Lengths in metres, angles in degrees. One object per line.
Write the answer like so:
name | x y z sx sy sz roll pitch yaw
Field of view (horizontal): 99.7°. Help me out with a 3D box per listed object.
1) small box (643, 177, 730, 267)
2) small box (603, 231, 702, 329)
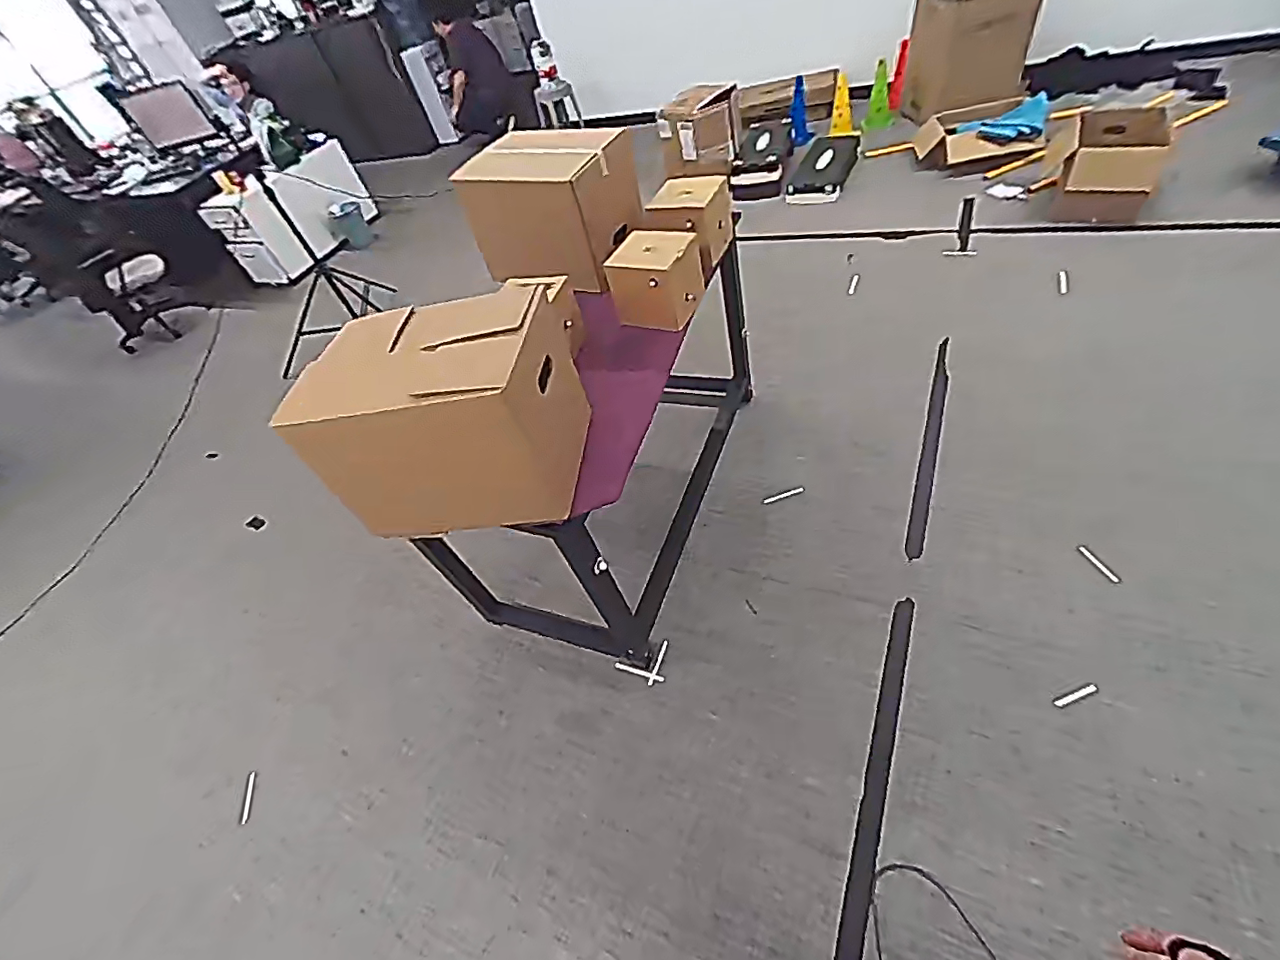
small box | 0.137 -0.703 1.484 0.179 0.176 0.168 12 55 27
small box | 0.037 -0.493 1.337 0.179 0.176 0.168 15 56 26
